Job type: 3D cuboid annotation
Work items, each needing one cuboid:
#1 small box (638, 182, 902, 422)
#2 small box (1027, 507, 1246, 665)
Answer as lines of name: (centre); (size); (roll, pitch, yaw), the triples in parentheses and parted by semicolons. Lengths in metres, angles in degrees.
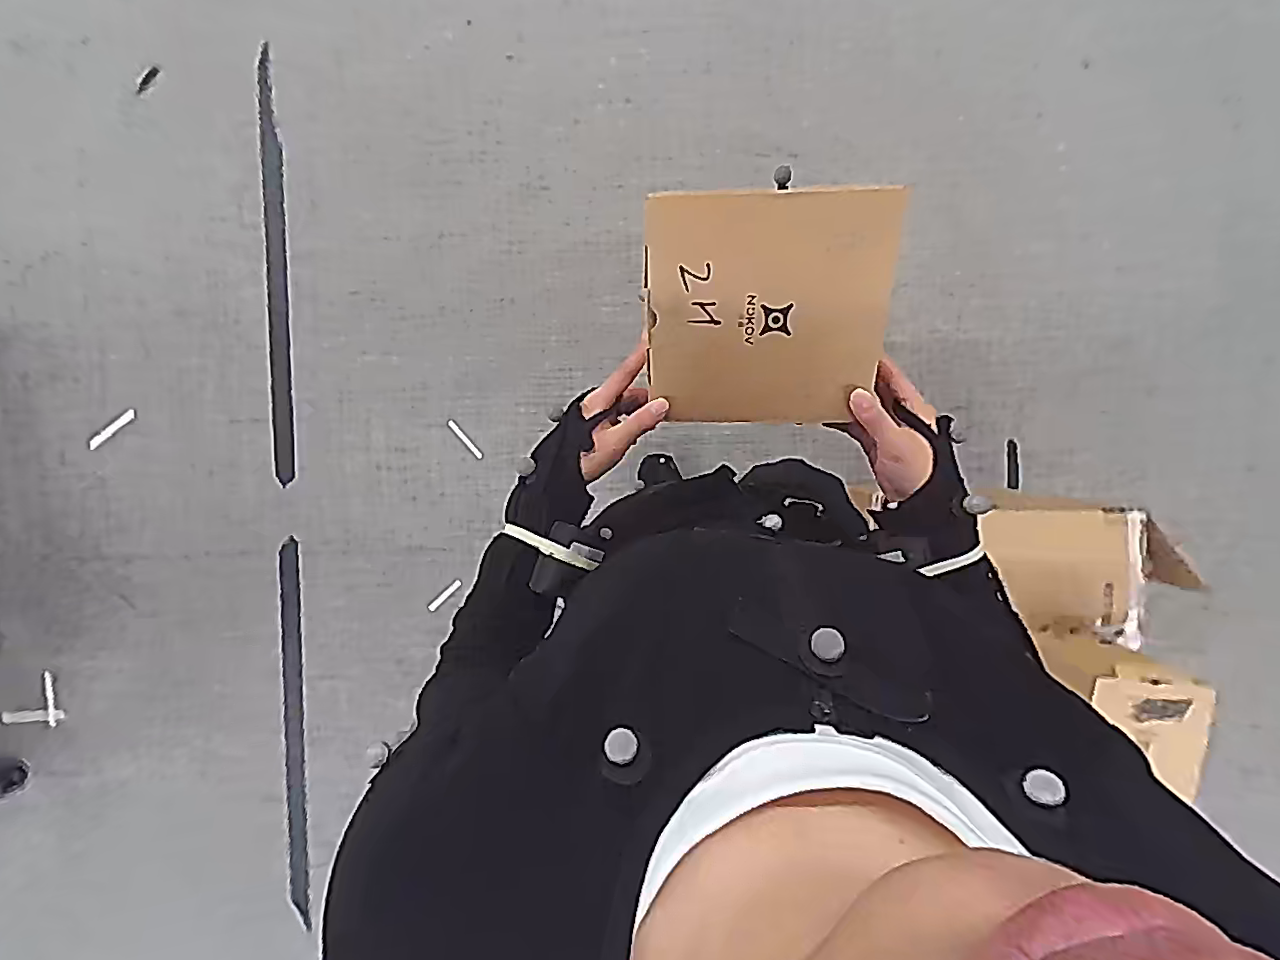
small box: (0.094, -0.153, 0.461); (0.179, 0.176, 0.168); (2, 112, 7)
small box: (0.716, 0.143, 0.801); (0.168, 0.176, 0.179); (-13, 95, 2)
